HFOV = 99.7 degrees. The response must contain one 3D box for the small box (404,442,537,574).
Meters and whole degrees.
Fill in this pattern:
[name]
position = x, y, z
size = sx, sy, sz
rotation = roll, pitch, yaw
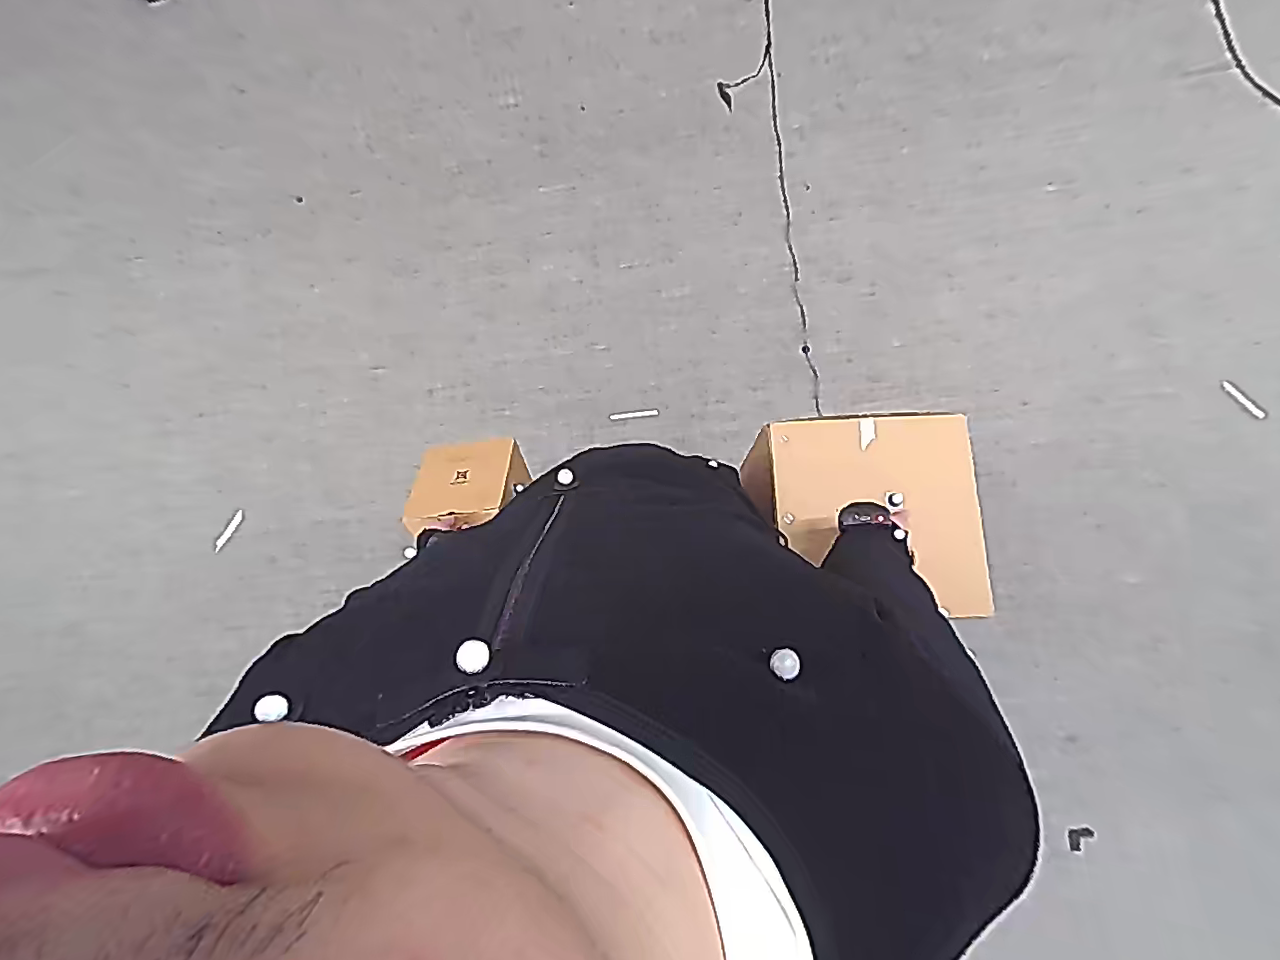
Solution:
[small box]
position = -0.294, 0.057, 0.984
size = 0.168, 0.179, 0.176
rotation = -7, 134, 4
